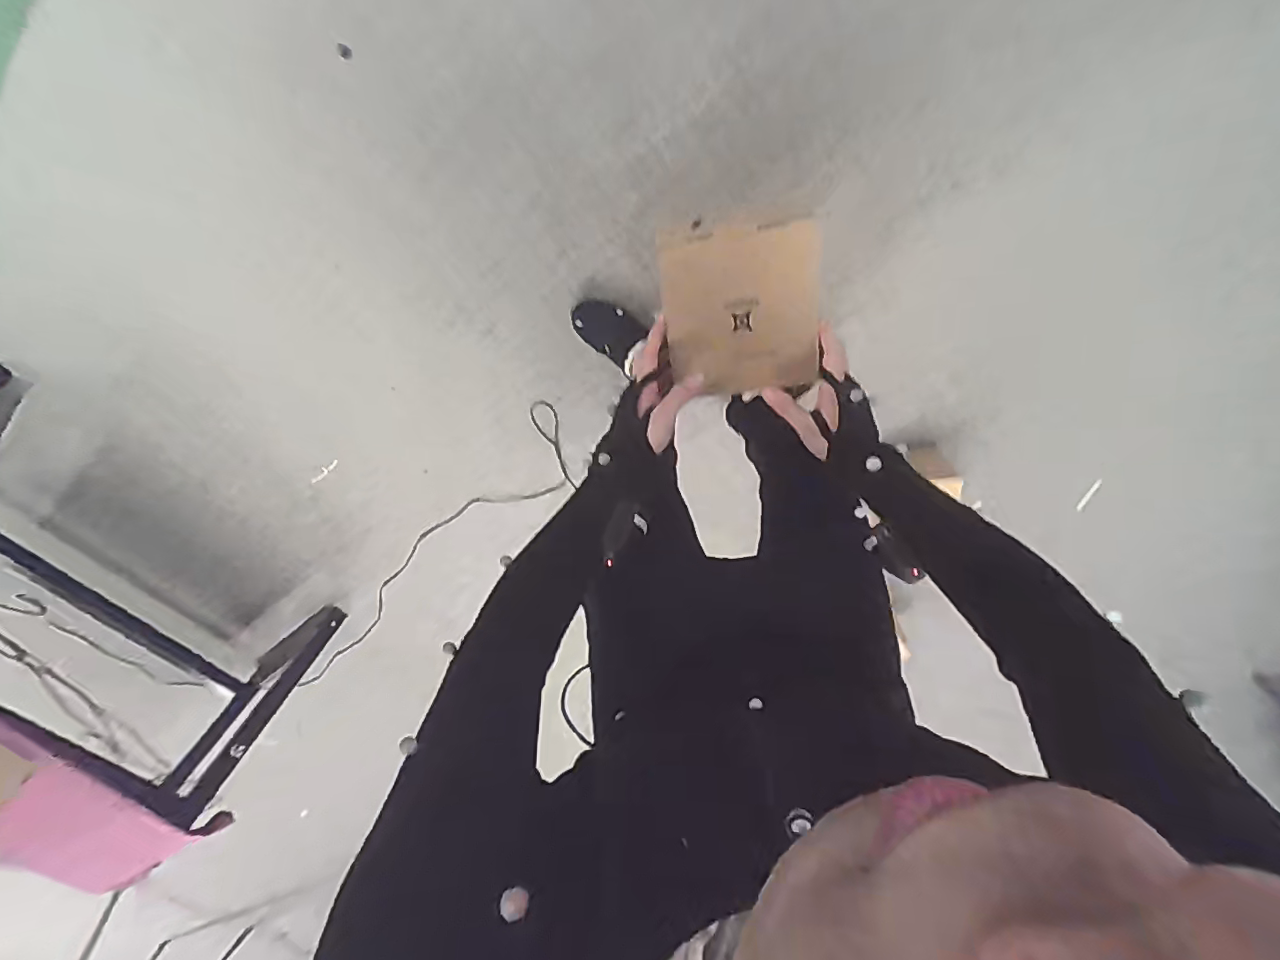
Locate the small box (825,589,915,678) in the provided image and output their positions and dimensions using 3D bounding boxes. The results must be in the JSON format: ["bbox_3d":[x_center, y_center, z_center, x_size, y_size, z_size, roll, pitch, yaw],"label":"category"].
[{"bbox_3d":[0.686,0.453,1.631,0.168,0.176,0.179,-36,111,23],"label":"small box"}]

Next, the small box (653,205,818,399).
[{"bbox_3d":[0.108,-0.216,0.639,0.168,0.176,0.179,-7,121,8],"label":"small box"}]
